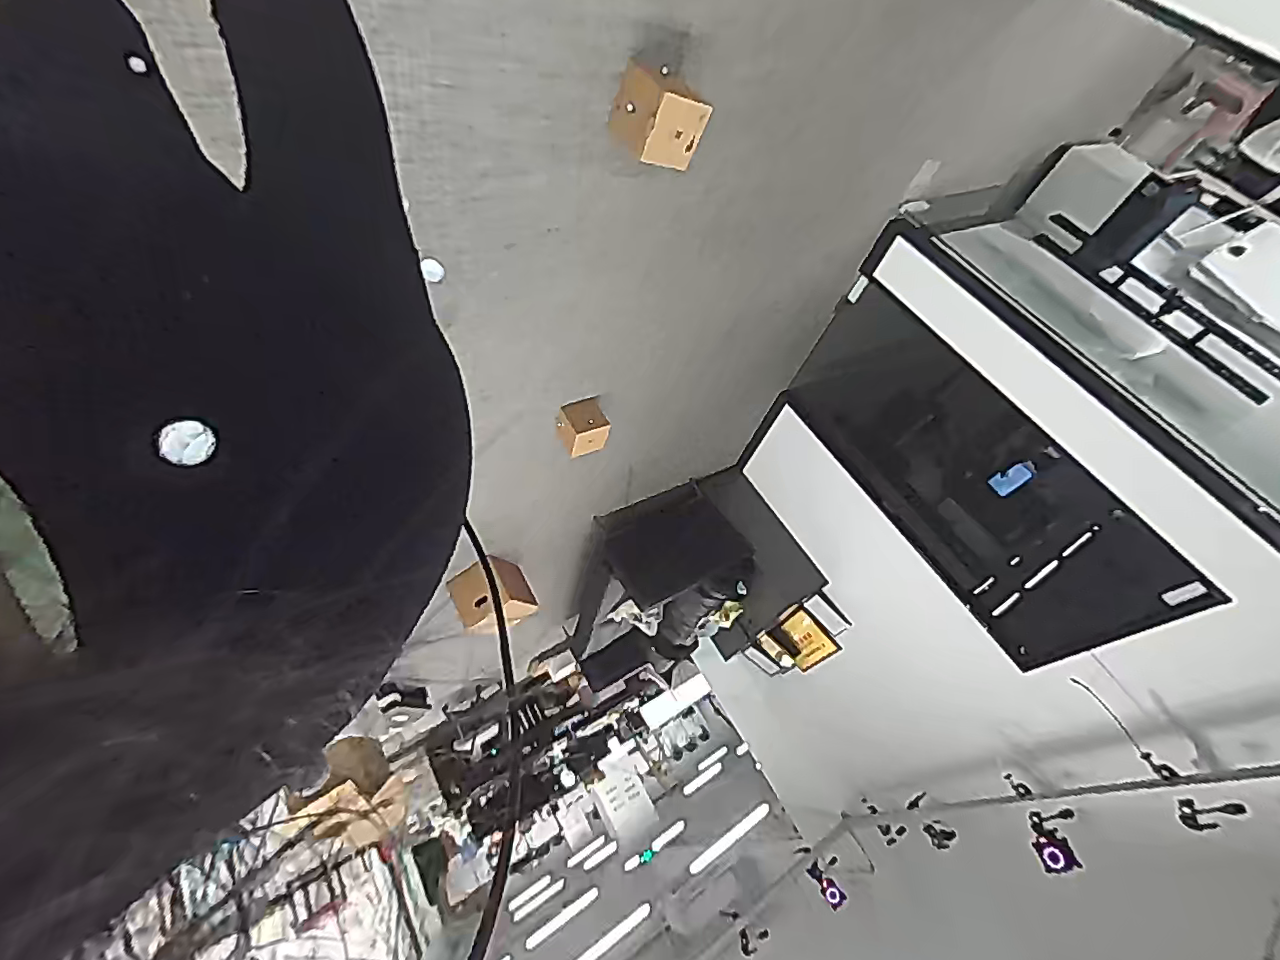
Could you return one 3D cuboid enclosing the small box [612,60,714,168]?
[{"bbox_3d":[0.052,-0.962,1.421,0.179,0.176,0.168,-14,150,-38],"label":"small box"}]

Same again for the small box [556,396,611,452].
[{"bbox_3d":[-0.259,-0.257,2.448,0.179,0.176,0.168,-20,153,-27],"label":"small box"}]
